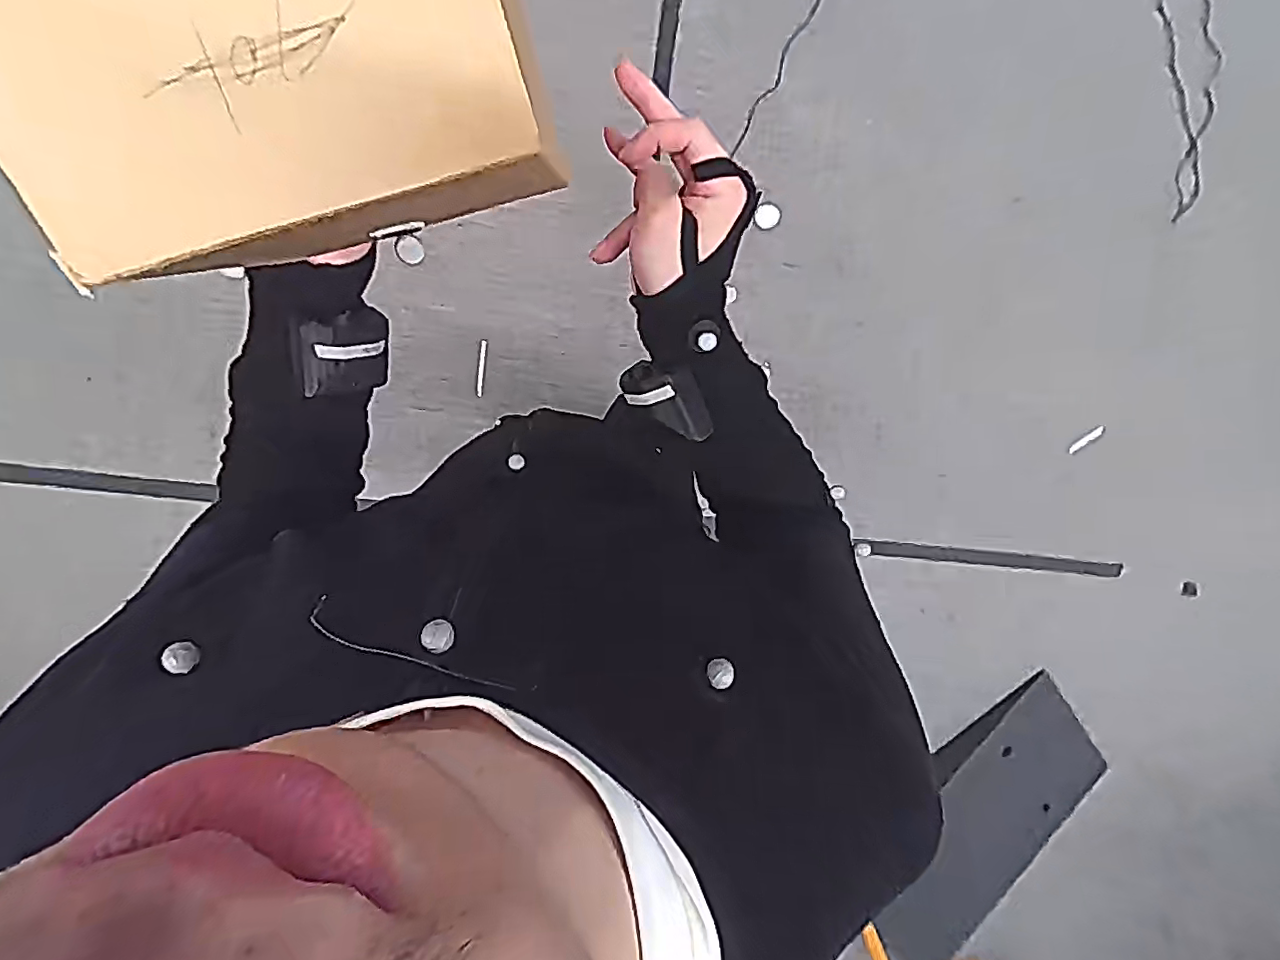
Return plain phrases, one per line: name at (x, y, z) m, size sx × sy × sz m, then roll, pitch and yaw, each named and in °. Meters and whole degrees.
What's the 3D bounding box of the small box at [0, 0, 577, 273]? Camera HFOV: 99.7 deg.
small box at (-0.129, -0.200, 0.227) m, size 0.168 × 0.176 × 0.179 m, roll -13°, pitch 116°, yaw 4°
